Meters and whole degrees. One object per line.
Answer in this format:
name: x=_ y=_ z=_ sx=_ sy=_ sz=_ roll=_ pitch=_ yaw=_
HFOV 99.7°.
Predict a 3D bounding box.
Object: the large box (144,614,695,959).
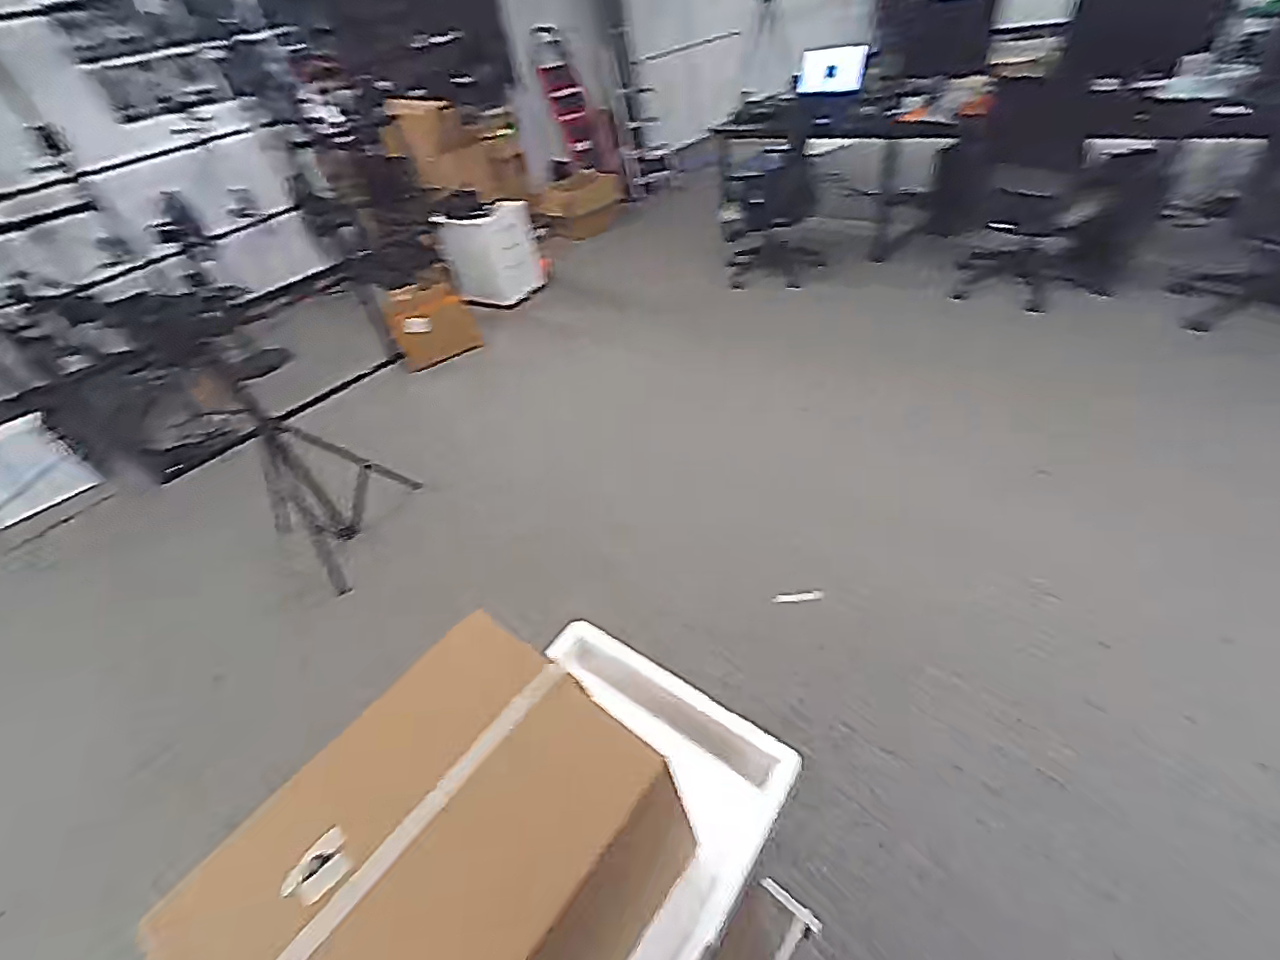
large box: x=-0.182 y=0.443 z=0.601 sx=0.320 sy=0.320 sz=0.408 roll=22 pitch=54 yaw=34
